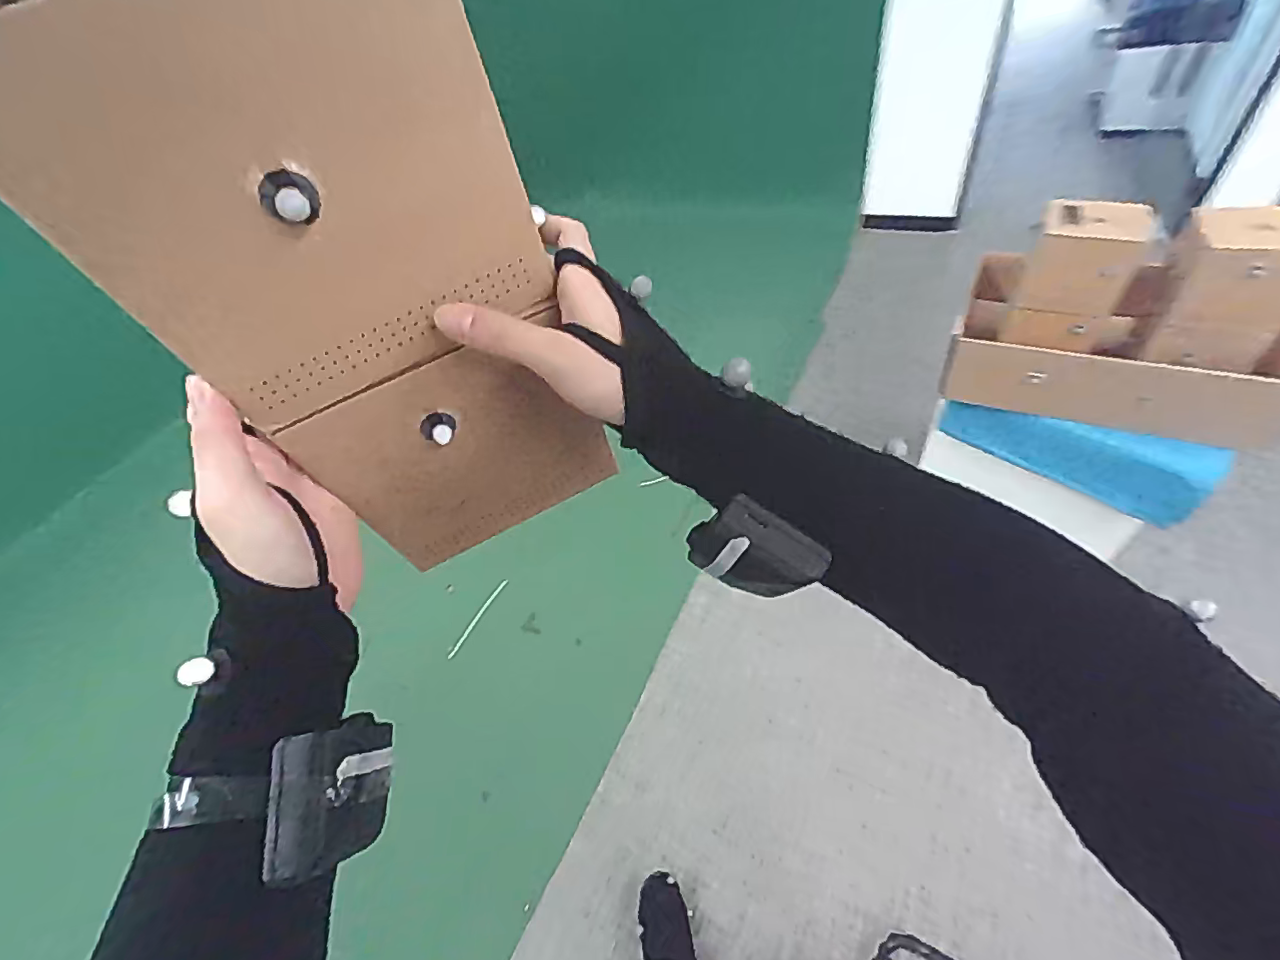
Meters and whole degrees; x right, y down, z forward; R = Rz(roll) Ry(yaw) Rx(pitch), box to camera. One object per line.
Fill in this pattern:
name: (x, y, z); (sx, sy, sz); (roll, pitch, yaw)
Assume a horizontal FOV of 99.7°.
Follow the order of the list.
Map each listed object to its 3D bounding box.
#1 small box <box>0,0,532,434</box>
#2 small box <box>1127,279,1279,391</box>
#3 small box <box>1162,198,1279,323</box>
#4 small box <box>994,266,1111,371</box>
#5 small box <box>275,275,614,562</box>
small box: (-0.175, -0.160, 0.287); (0.179, 0.176, 0.168); (-30, 54, -8)
small box: (1.180, -0.309, 1.153); (0.179, 0.176, 0.168); (12, 53, 26)
small box: (1.148, -0.418, 1.035); (0.179, 0.176, 0.168); (12, 53, 24)
small box: (0.962, -0.377, 1.271); (0.179, 0.176, 0.168); (17, 55, 24)
small box: (-0.141, -0.065, 0.418); (0.179, 0.176, 0.168); (-26, 54, -7)
